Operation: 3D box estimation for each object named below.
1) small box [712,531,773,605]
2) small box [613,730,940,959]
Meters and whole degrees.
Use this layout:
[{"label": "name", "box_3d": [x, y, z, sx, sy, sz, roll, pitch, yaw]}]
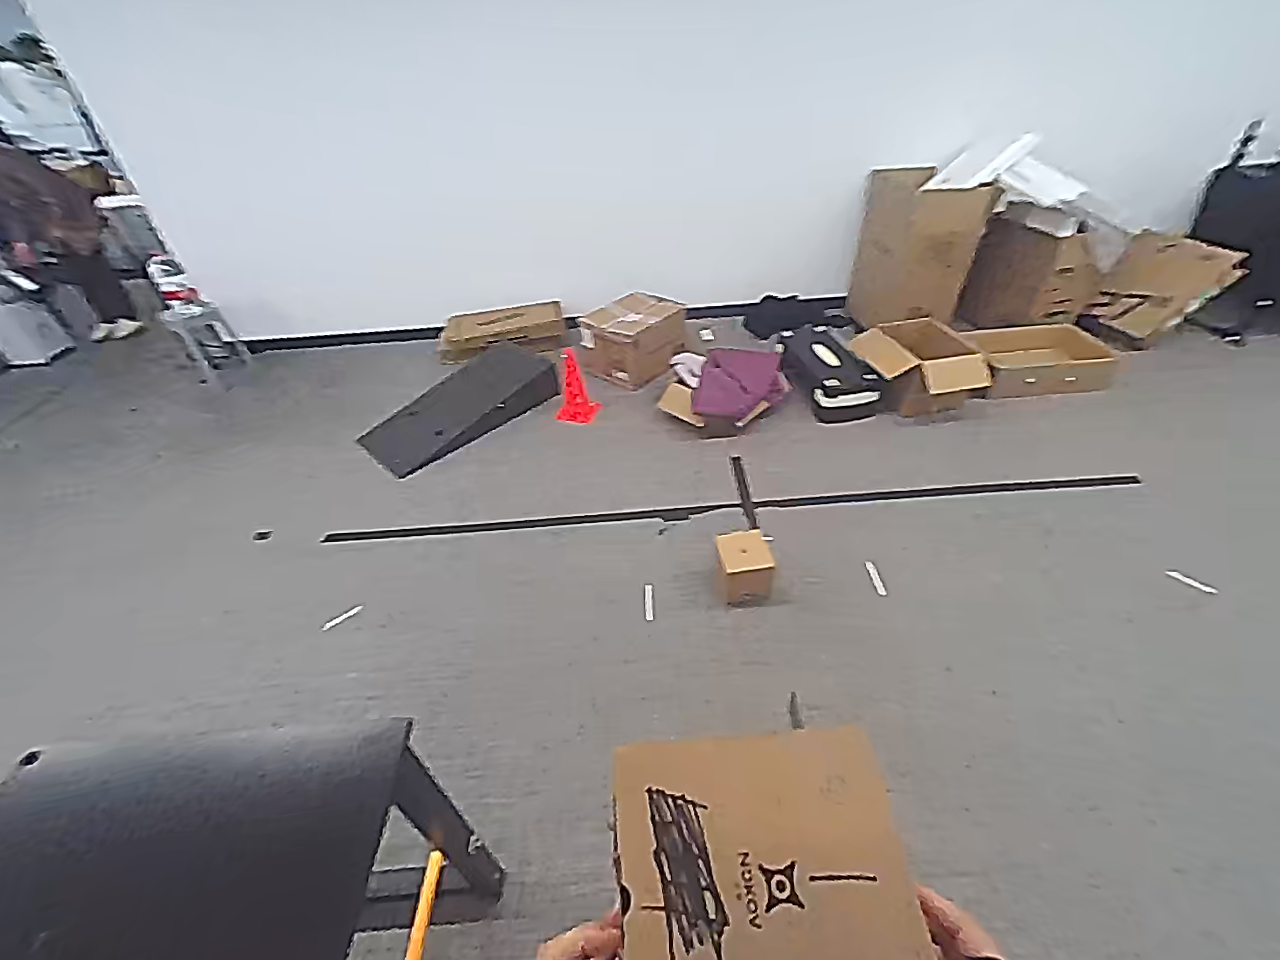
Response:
[{"label": "small box", "box_3d": [0.348, 0.304, 1.867, 0.168, 0.176, 0.179, -9, 41, -4]}, {"label": "small box", "box_3d": [0.077, 0.286, 0.376, 0.179, 0.176, 0.168, -4, 53, -1]}]
